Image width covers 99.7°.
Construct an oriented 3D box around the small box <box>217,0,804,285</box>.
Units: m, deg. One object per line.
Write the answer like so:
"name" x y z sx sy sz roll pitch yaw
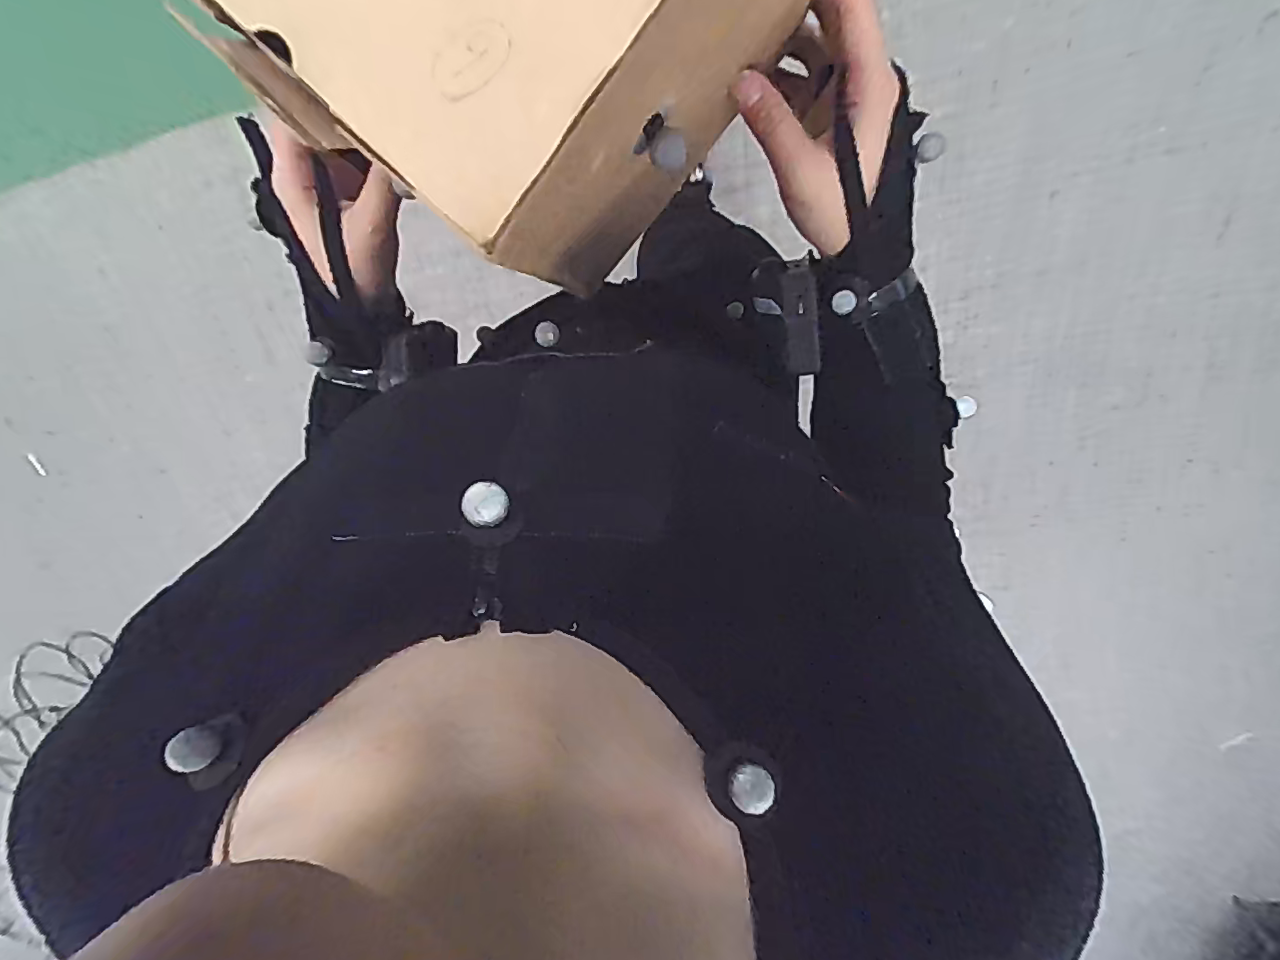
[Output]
"small box" -0.037 -0.207 0.230 0.168 0.176 0.179 41 105 -5
